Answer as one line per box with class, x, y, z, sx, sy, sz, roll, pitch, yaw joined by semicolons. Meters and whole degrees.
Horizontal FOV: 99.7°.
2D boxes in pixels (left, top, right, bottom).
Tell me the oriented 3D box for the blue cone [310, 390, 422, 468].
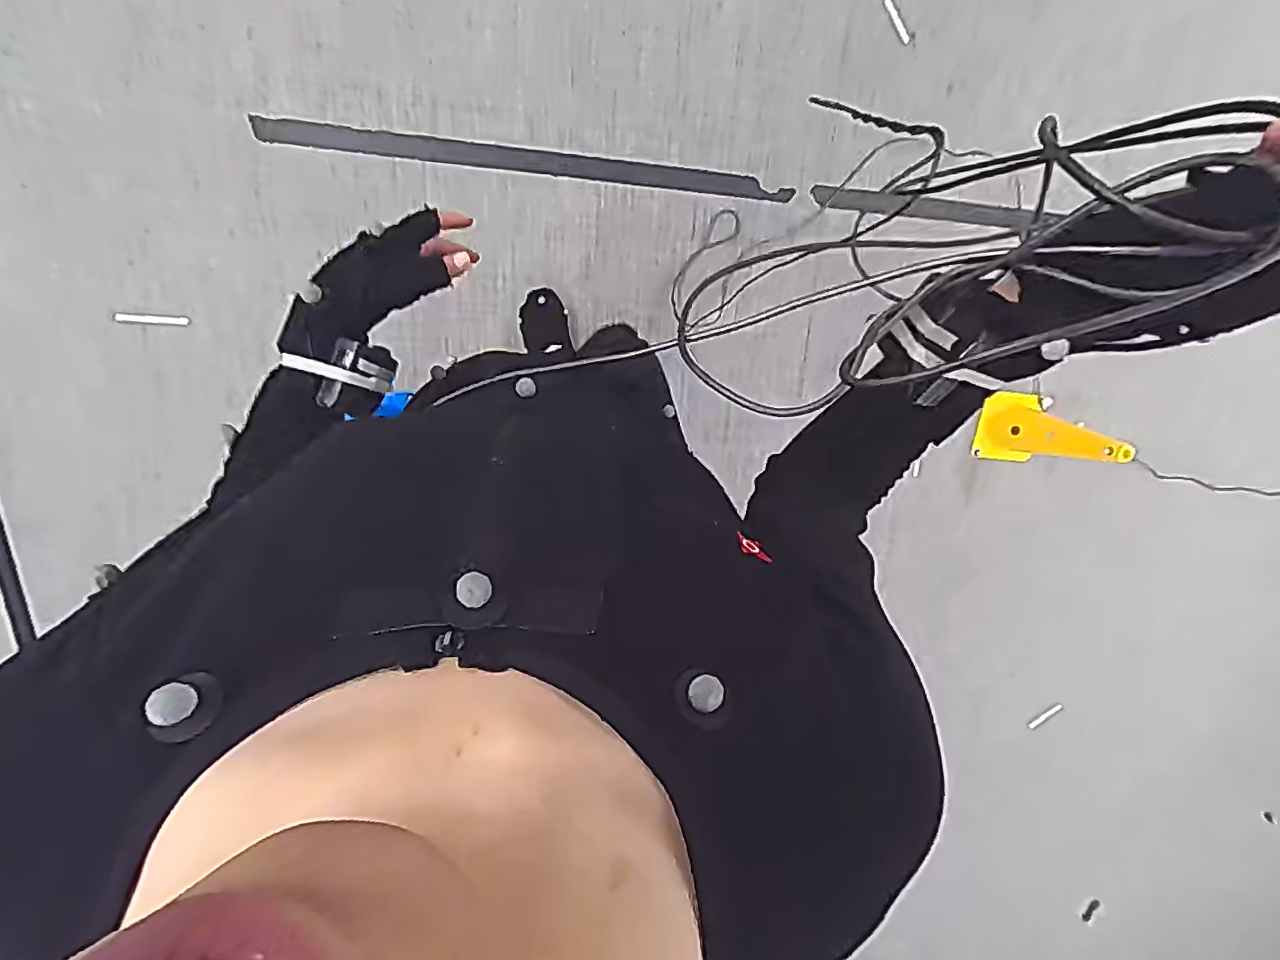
blue cone;-0.633;-0.082;1.207;0.193;0.380;0.192;-4;107;-6
